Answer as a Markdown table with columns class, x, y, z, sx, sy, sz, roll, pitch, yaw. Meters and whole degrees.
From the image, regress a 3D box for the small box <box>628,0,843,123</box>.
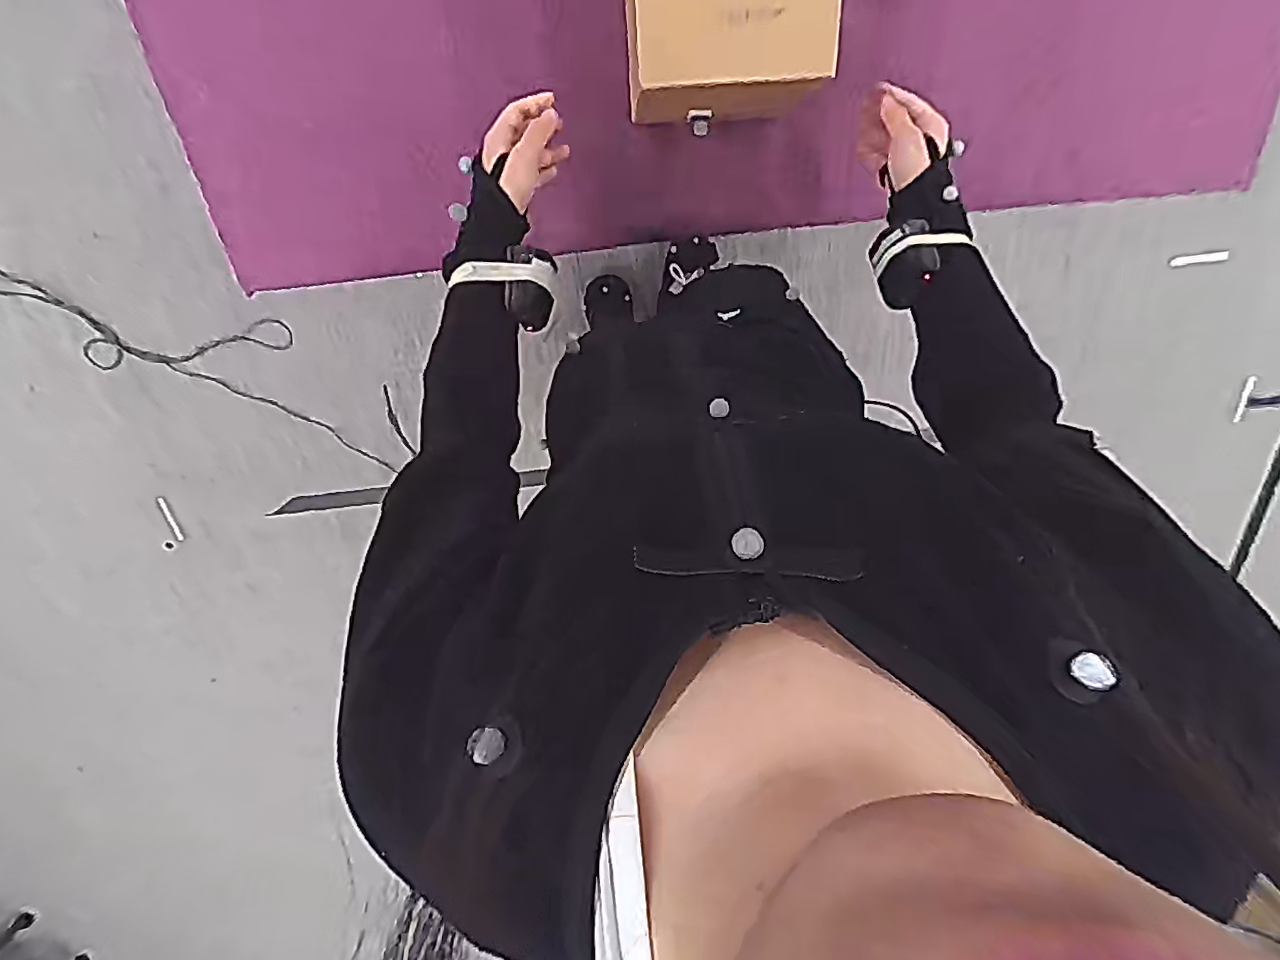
| class | x | y | z | sx | sy | sz | roll | pitch | yaw |
| --- | --- | --- | --- | --- | --- | --- | --- | --- | --- |
| small box | 0.074 | -0.443 | 0.486 | 0.168 | 0.176 | 0.179 | -4 | 115 | -1 |
